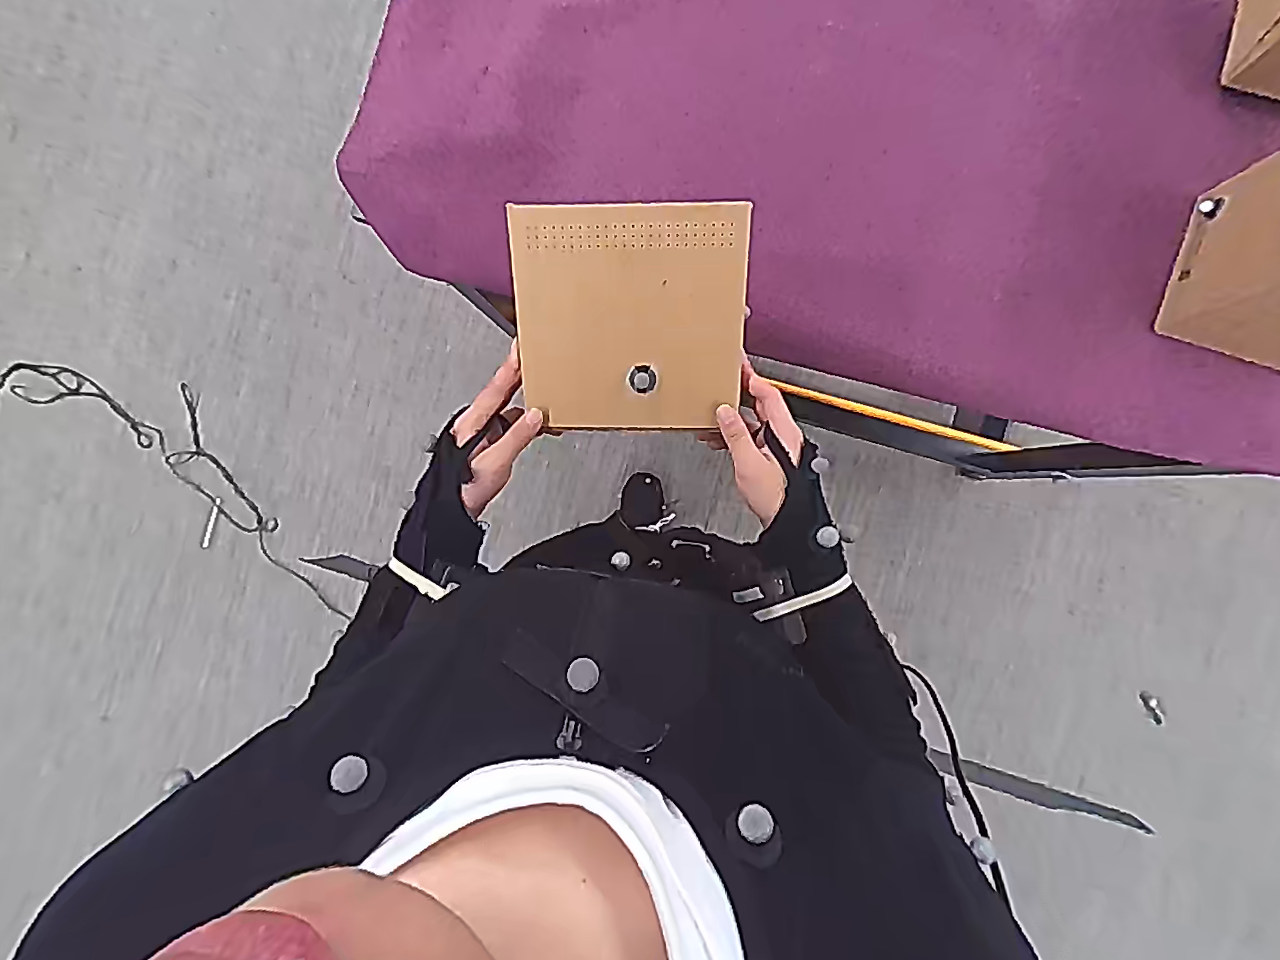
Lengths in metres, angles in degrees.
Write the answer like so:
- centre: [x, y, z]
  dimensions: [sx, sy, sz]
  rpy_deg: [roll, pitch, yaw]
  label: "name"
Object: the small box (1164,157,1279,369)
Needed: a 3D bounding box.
- centre: [0.681, -0.218, 0.522]
  dimensions: [0.179, 0.176, 0.168]
  rpy_deg: [19, 90, 3]
  label: "small box"
